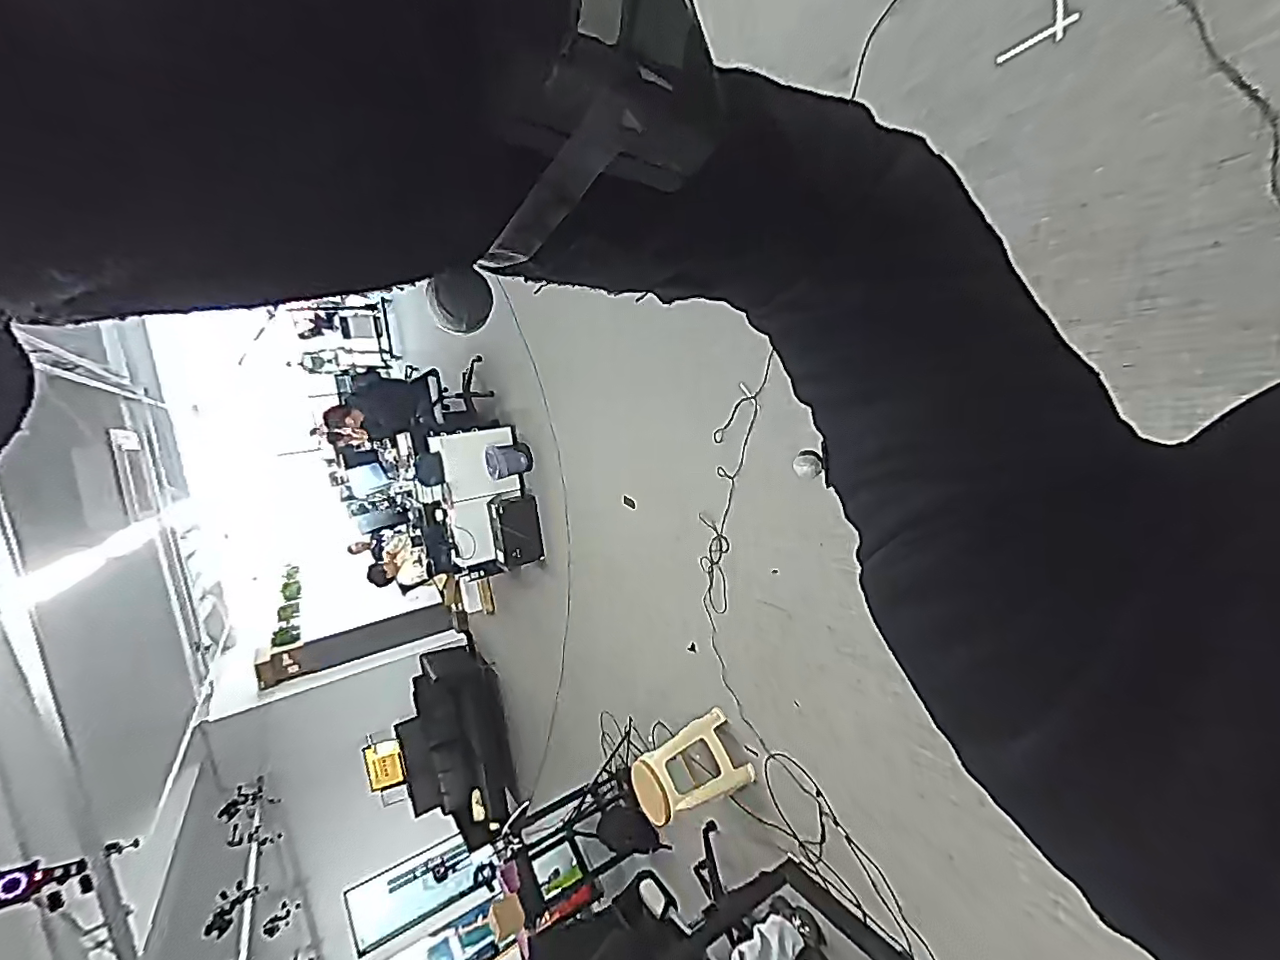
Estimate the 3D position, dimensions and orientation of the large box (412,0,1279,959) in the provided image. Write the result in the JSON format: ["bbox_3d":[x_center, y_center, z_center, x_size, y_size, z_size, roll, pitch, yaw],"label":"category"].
[{"bbox_3d":[0.164,-0.018,0.149,0.408,0.320,0.320,25,-85,57],"label":"large box"}]
